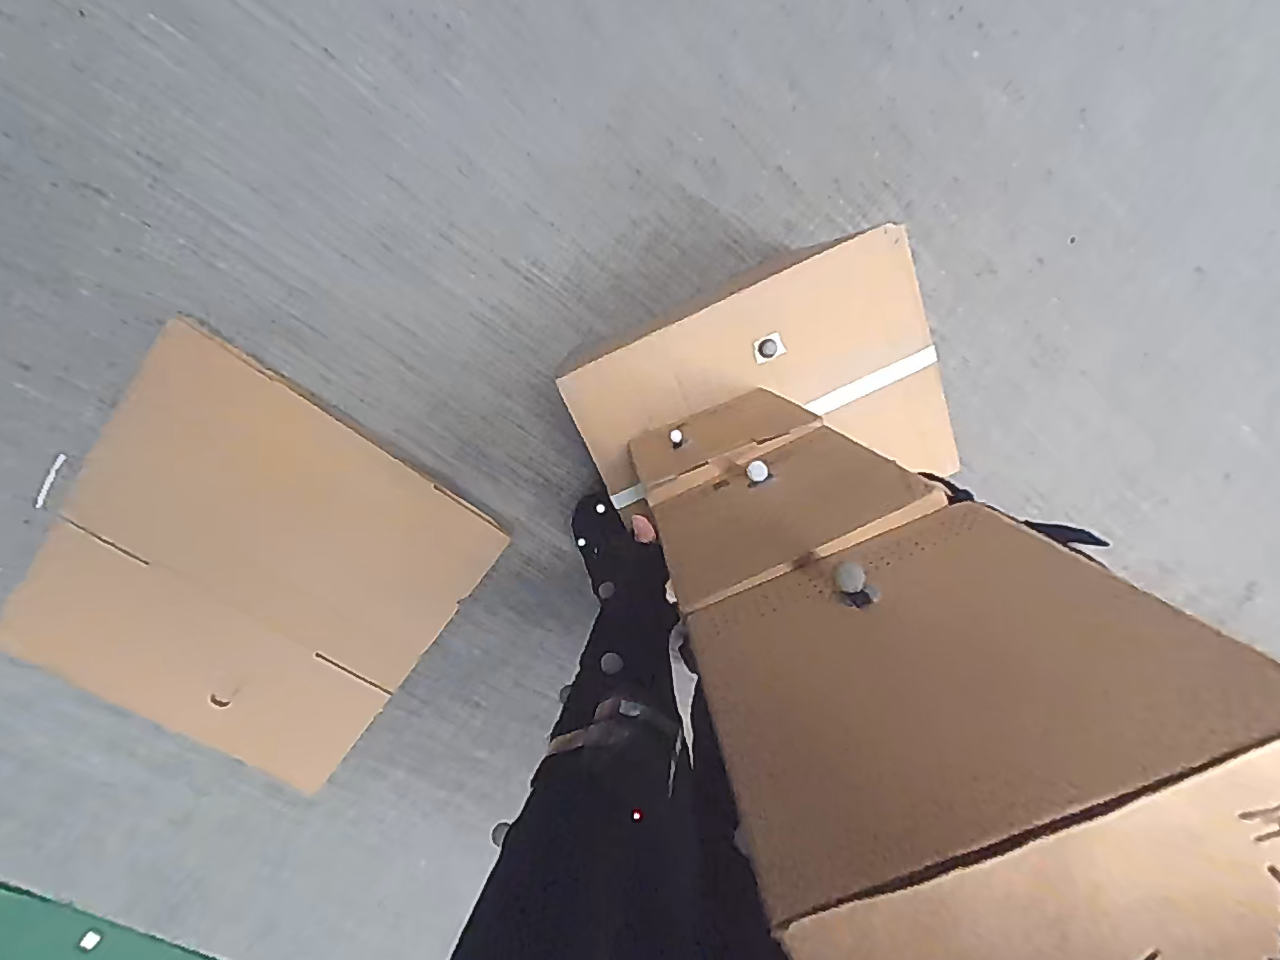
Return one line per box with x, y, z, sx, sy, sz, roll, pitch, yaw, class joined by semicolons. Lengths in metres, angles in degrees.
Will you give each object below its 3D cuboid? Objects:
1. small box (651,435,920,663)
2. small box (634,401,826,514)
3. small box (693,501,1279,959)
0.122;0.090;0.418;0.168;0.176;0.179;-29;109;5;small box
0.100;0.028;0.570;0.168;0.176;0.179;-22;110;3;small box
0.136;0.135;0.265;0.179;0.176;0.168;-27;106;5;small box
